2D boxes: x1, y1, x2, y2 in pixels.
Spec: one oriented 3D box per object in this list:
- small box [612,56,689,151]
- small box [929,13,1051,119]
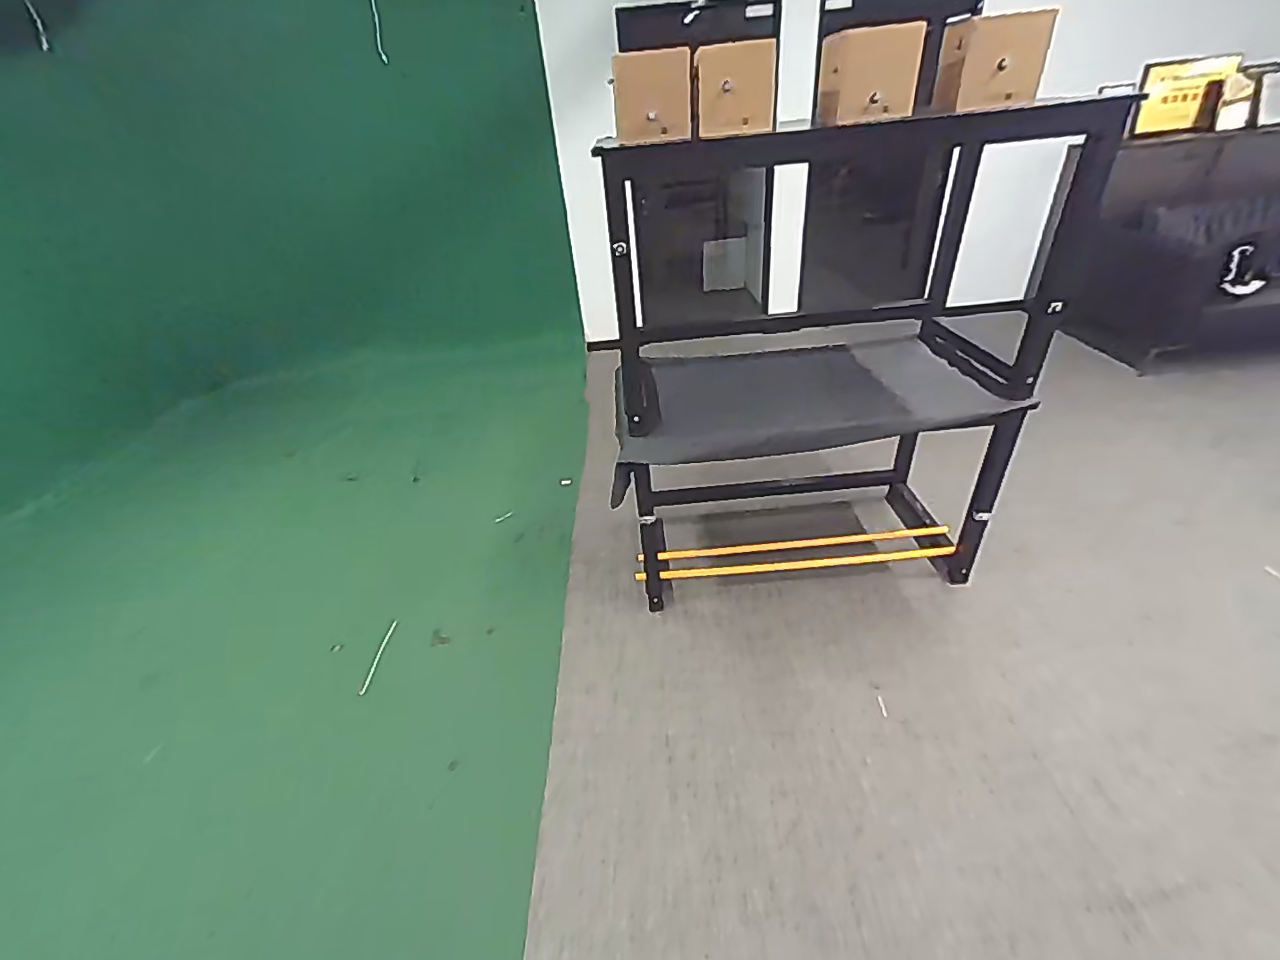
[{"bbox_3d":[0.022,-0.877,1.269,0.168,0.176,0.179,-6,34,-1],"label":"small box"},{"bbox_3d":[0.783,-0.932,1.231,0.168,0.176,0.179,0,33,8],"label":"small box"}]
